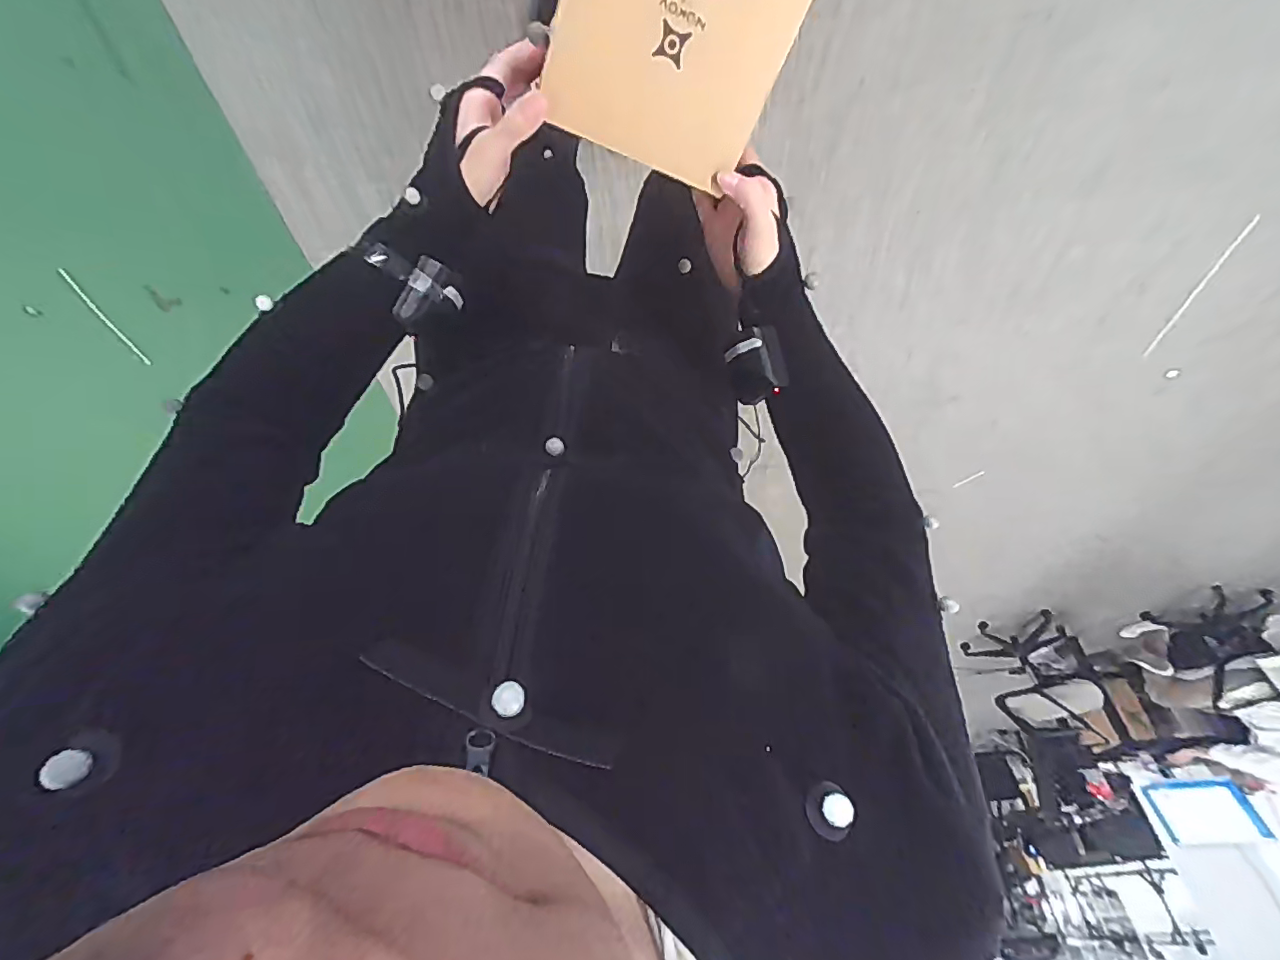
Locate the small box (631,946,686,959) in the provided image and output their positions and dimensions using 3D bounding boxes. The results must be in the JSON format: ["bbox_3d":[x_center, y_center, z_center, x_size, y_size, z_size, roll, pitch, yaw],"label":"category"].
[{"bbox_3d":[0.058,1.518,1.619,0.168,0.176,0.179,-2,143,0],"label":"small box"}]

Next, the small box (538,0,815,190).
[{"bbox_3d":[0.021,-0.377,0.440,0.168,0.176,0.179,12,129,-20],"label":"small box"}]
